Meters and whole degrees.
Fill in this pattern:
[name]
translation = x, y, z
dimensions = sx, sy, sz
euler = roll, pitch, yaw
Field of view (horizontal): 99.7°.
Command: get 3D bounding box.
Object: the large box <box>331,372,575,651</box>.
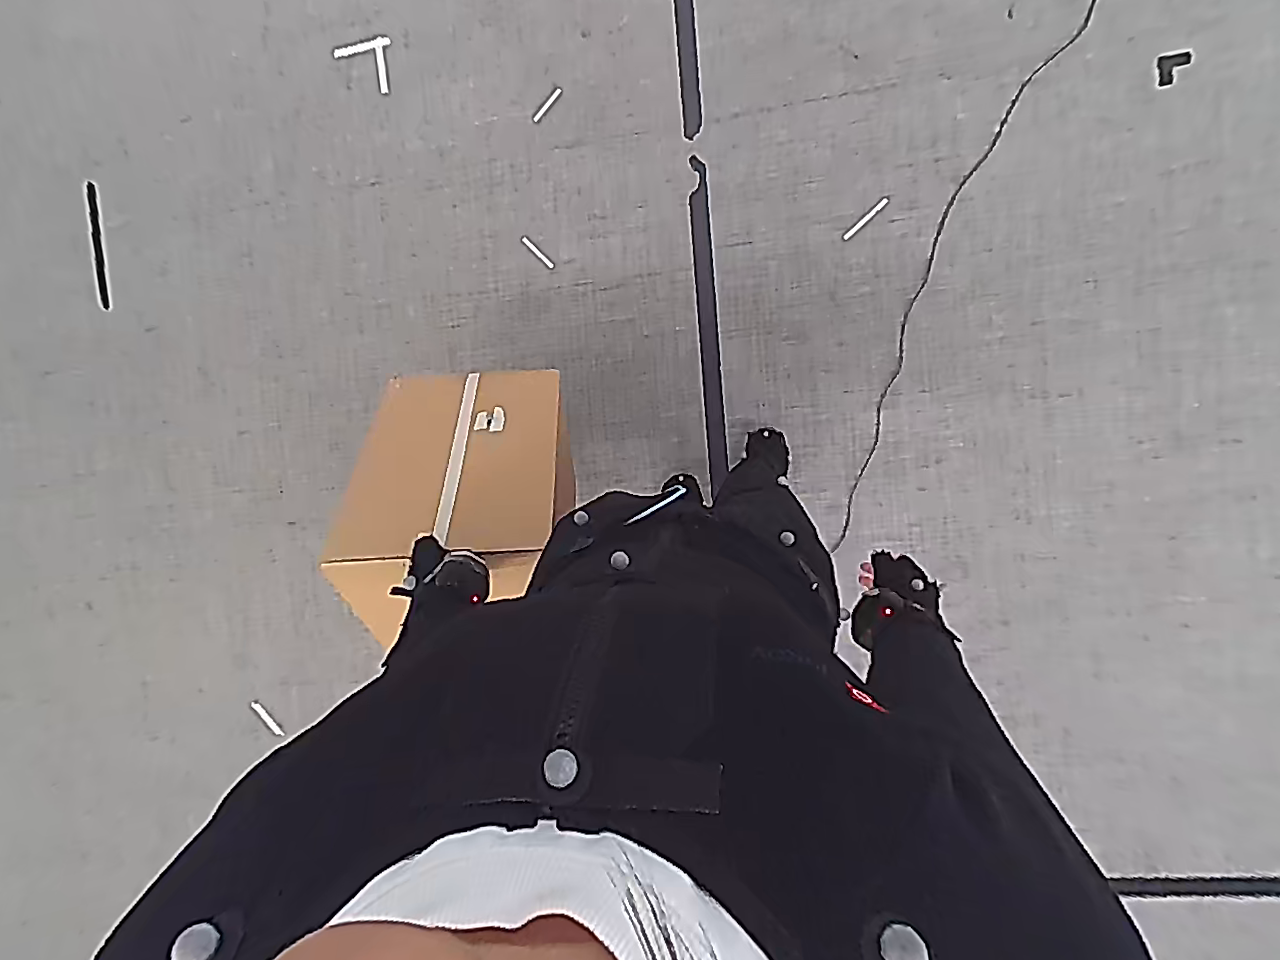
[large box]
translation = -0.289, 0.052, 0.988
dimensions = 0.320, 0.320, 0.408
euler = -2, 48, -2
